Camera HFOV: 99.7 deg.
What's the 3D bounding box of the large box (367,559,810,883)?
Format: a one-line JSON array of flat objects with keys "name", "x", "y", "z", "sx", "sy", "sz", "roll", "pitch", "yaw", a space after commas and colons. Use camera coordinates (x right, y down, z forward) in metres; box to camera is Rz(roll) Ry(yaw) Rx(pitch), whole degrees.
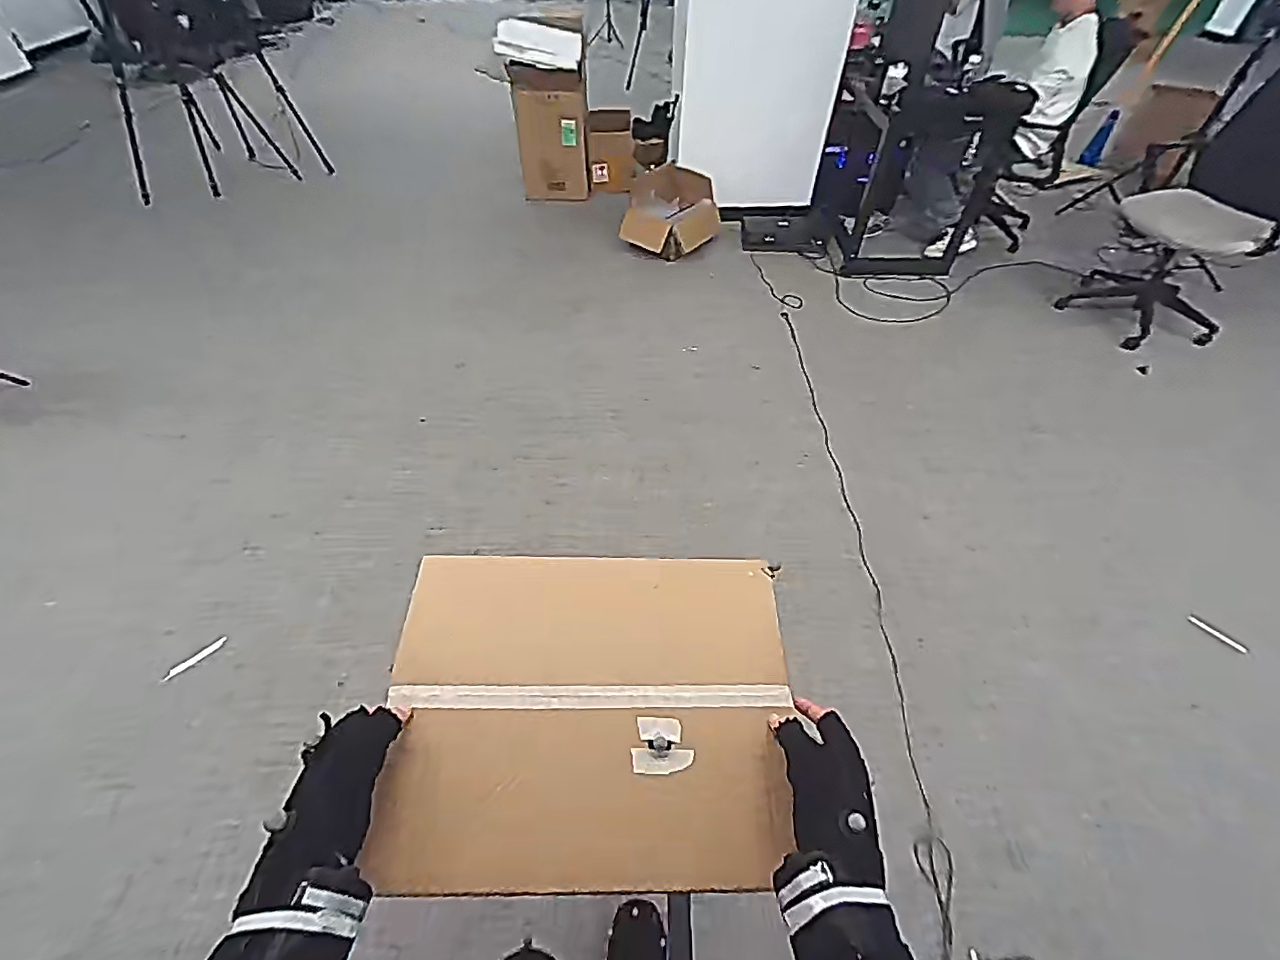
[{"name": "large box", "x": -0.055, "y": 0.309, "z": 0.686, "sx": 0.408, "sy": 0.320, "sz": 0.320, "roll": 1, "pitch": 55, "yaw": -3}]
